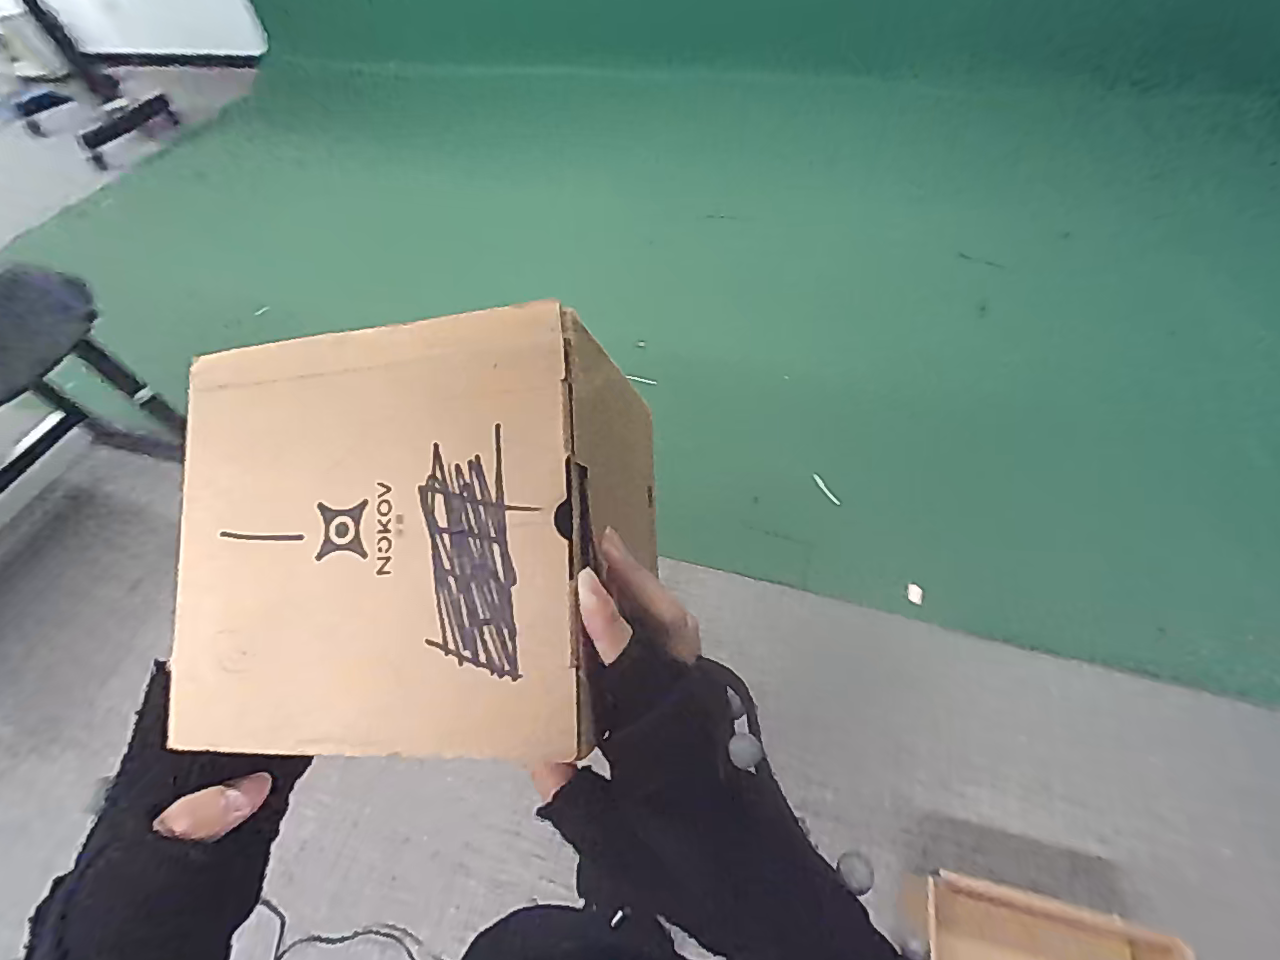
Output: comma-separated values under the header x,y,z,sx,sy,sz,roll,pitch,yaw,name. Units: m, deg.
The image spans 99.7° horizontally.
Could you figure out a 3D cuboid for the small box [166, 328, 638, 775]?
x,y,z,sx,sy,sz,roll,pitch,yaw,name
-0.100,0.037,0.294,0.179,0.176,0.168,-8,83,9,small box
